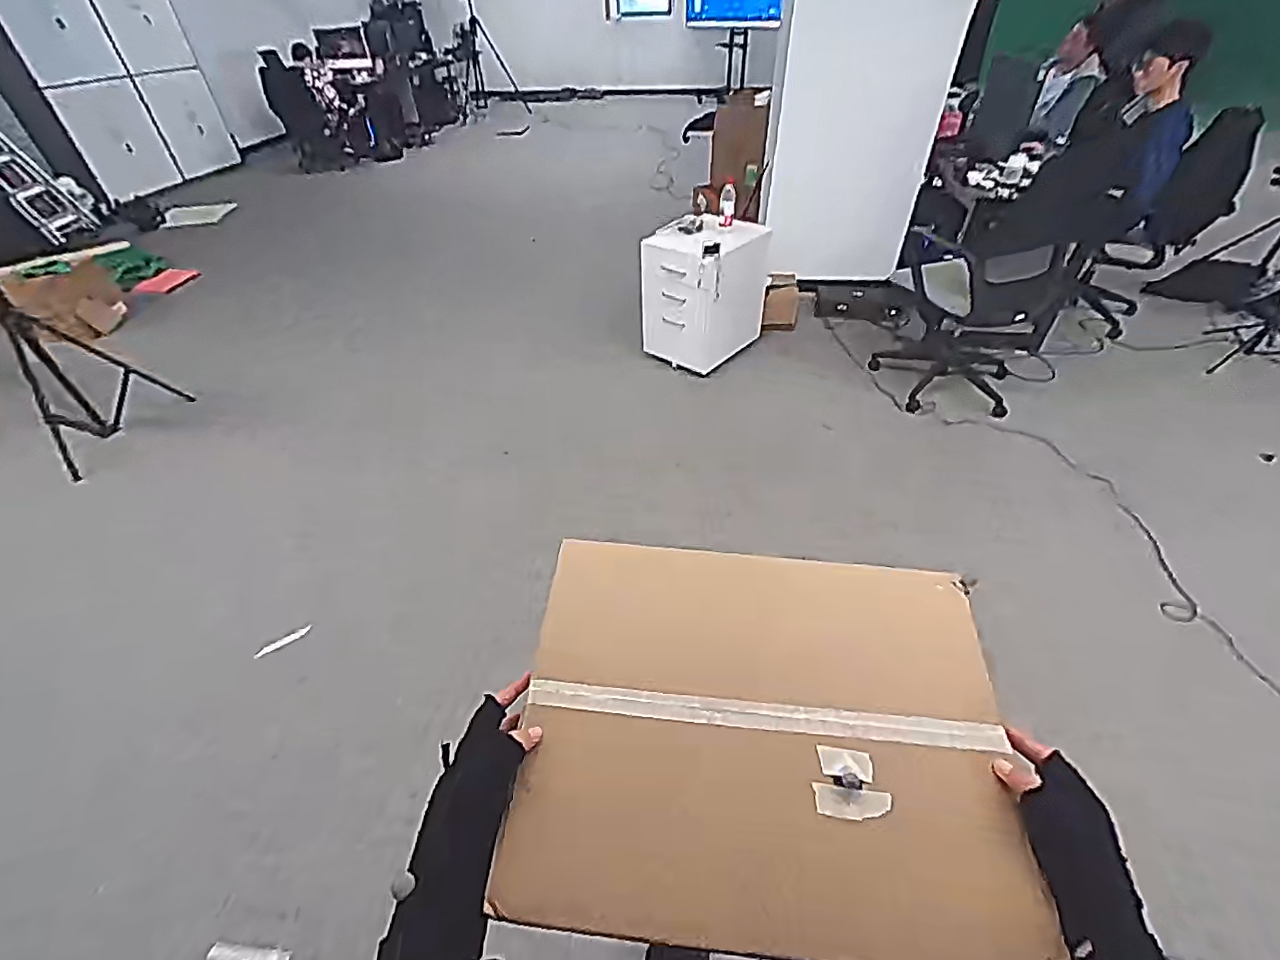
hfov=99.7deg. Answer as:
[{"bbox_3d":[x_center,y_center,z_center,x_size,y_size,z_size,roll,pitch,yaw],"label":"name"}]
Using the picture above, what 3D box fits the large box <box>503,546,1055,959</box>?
[{"bbox_3d":[0.107,0.296,0.593,0.408,0.320,0.320,5,53,4],"label":"large box"}]
